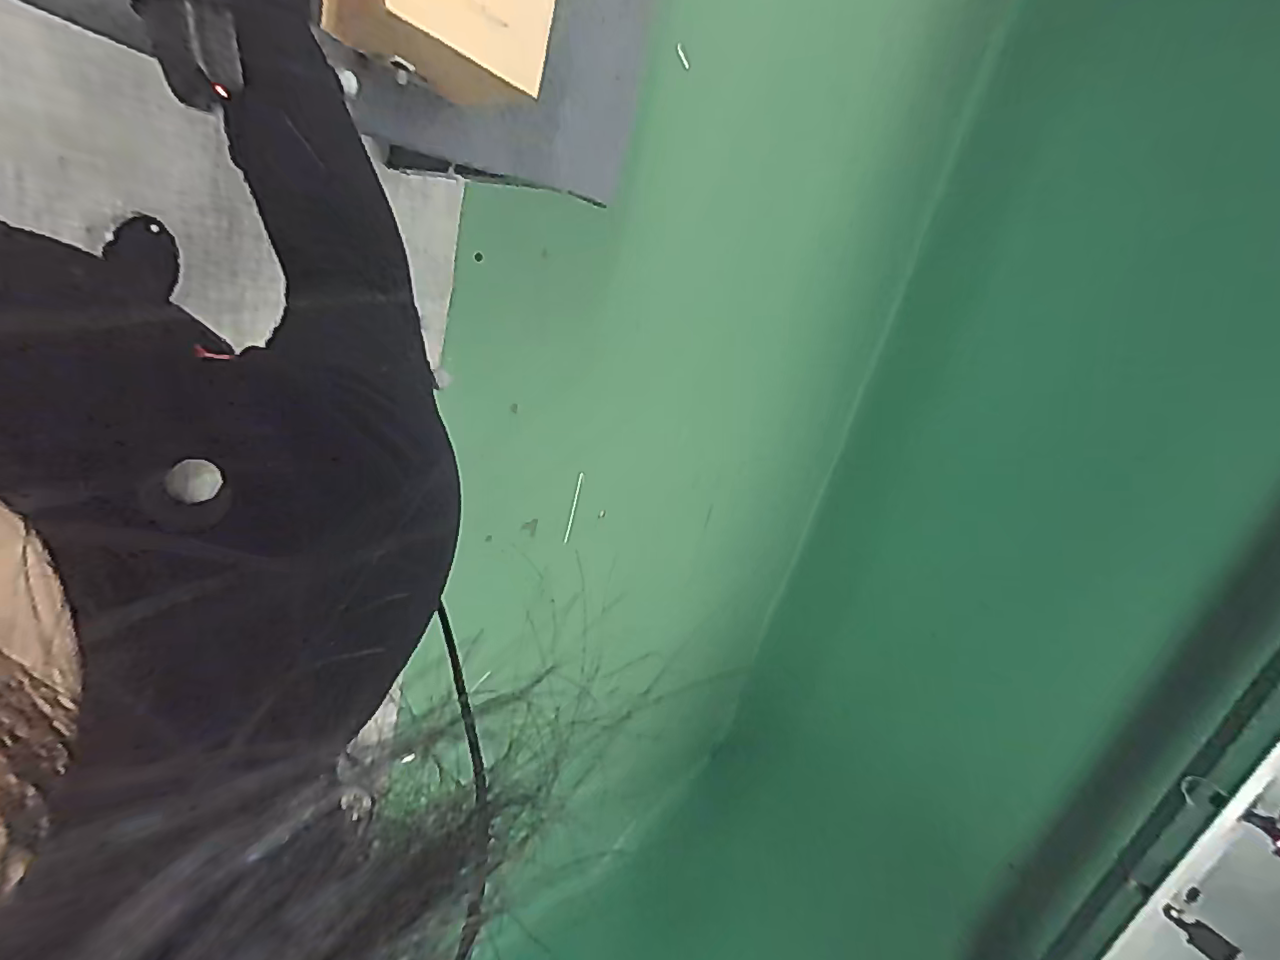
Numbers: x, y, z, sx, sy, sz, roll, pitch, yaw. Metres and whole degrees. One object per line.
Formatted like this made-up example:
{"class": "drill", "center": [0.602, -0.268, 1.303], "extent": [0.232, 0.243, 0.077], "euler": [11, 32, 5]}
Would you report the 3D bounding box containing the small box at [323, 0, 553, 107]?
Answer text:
{"class": "small box", "center": [-0.204, -0.517, 0.553], "extent": [0.168, 0.176, 0.179], "euler": [-3, 114, -47]}
